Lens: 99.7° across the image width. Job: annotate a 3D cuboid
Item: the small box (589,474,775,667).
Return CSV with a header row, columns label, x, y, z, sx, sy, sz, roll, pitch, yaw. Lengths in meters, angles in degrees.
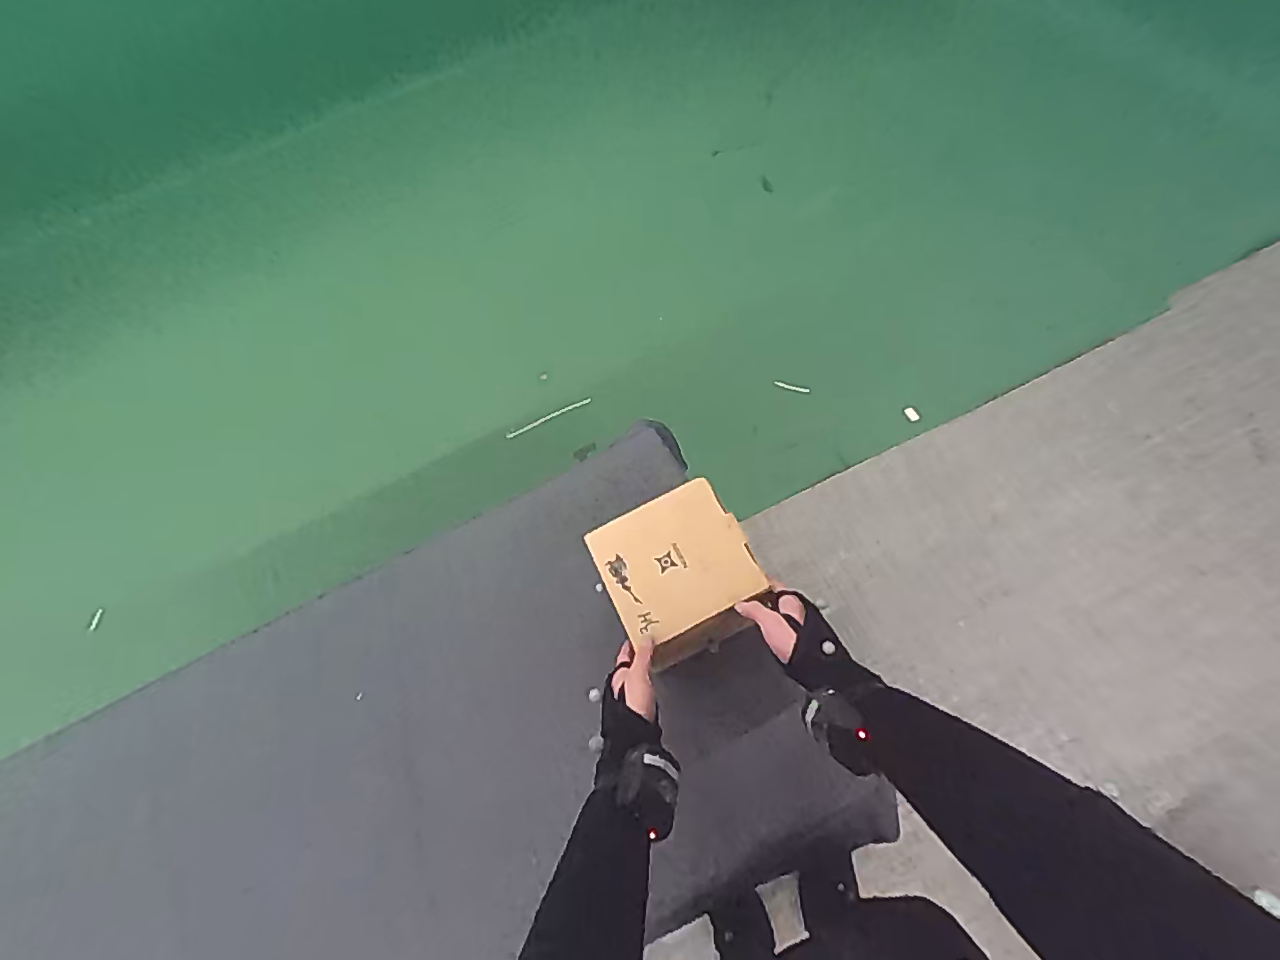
label,x,y,z,sx,sy,sz,roll,pitch,yaw
small box,0.052,0.125,0.712,0.179,0.176,0.168,-24,62,-6
